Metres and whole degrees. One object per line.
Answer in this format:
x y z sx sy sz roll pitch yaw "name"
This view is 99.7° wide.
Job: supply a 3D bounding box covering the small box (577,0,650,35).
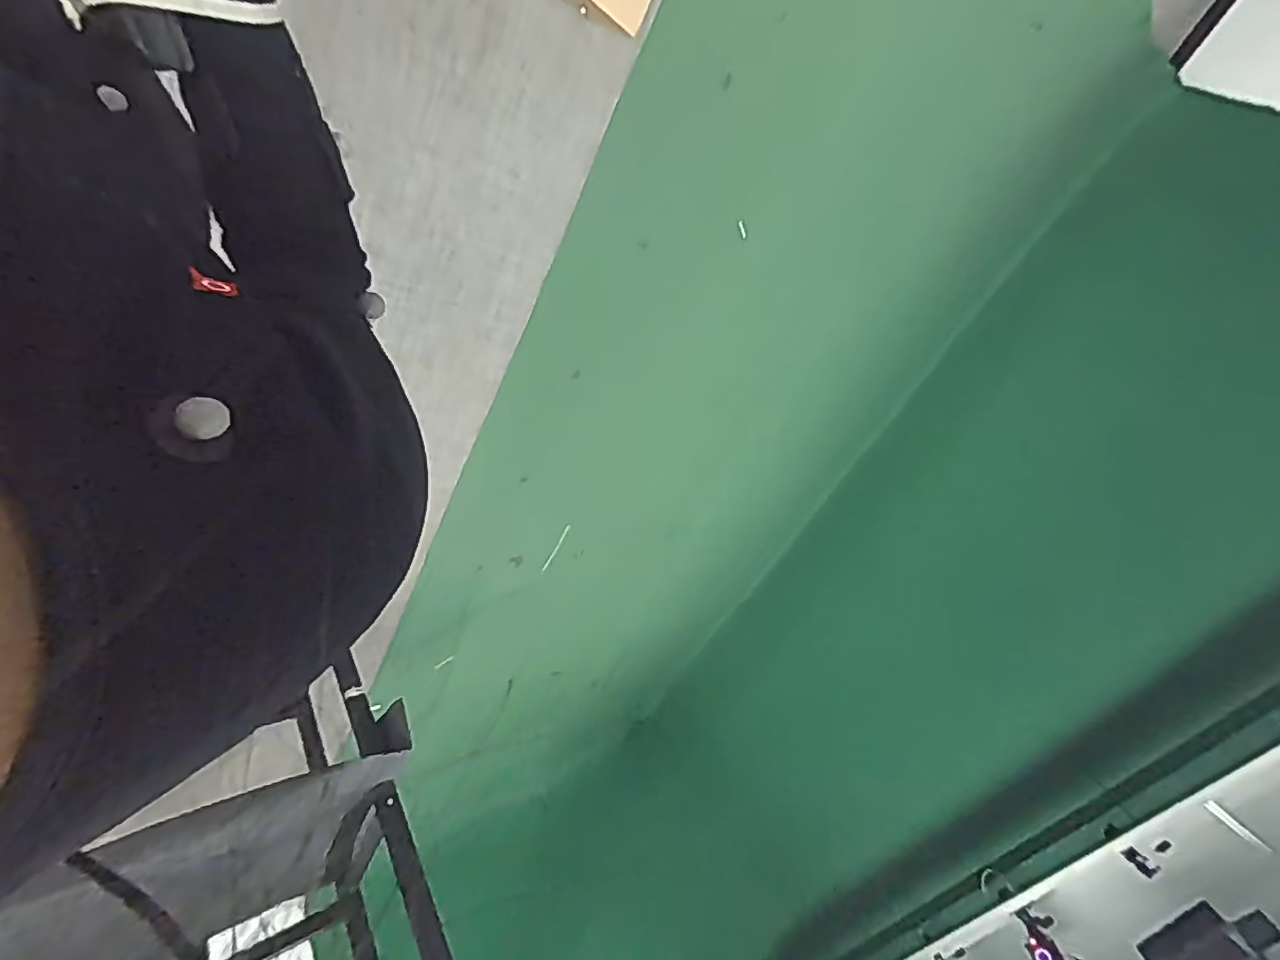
-0.070 -1.096 1.134 0.168 0.176 0.179 1 130 -48 "small box"
